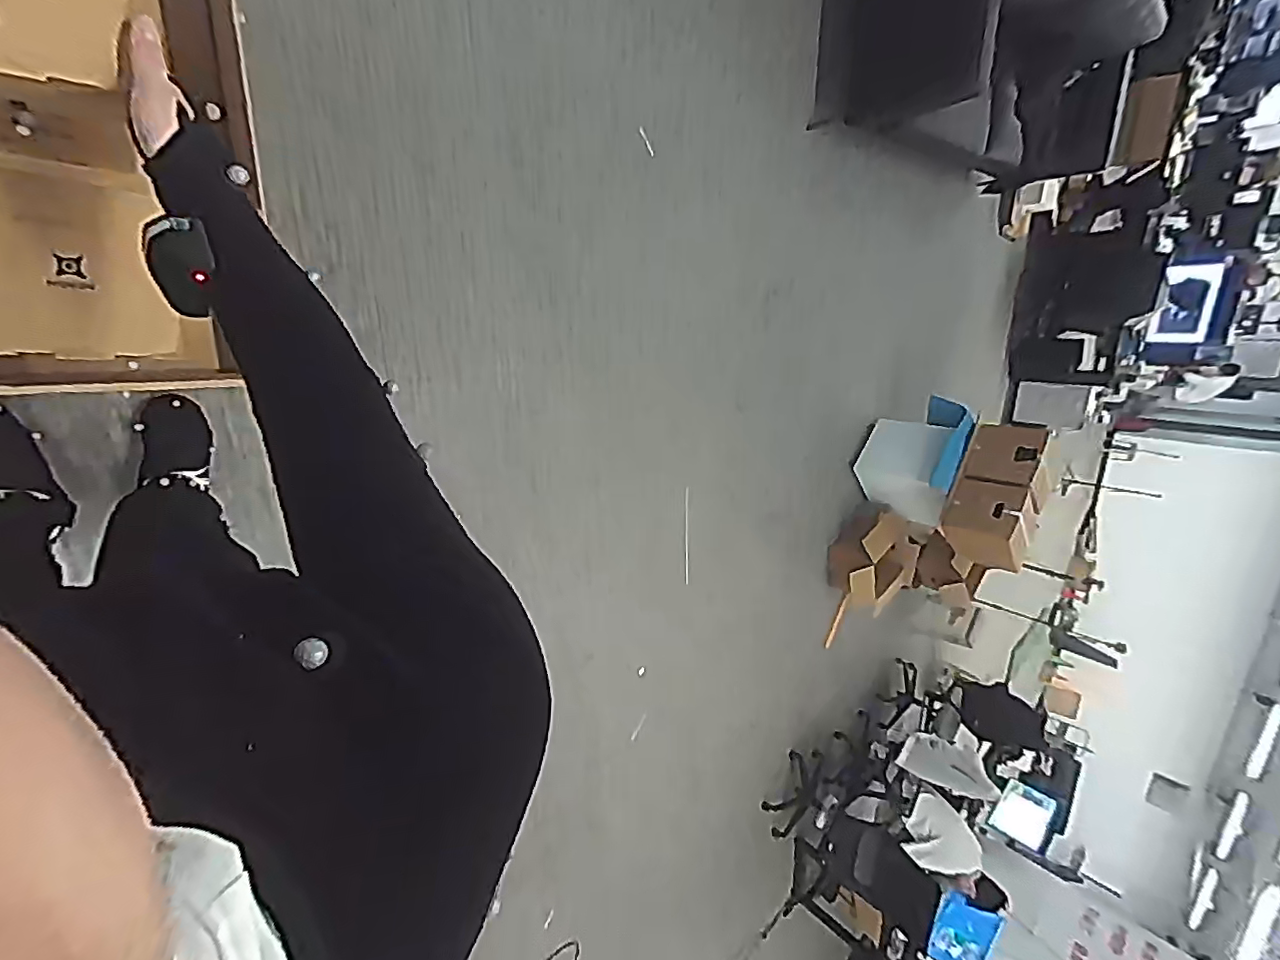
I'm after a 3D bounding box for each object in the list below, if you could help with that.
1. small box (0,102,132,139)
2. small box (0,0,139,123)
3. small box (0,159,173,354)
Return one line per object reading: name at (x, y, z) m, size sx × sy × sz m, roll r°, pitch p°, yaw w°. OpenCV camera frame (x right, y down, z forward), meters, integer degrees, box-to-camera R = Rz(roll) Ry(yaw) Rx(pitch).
small box at (-0.639, -0.472, 0.541) m, size 0.168 × 0.176 × 0.179 m, roll -12°, pitch 113°, yaw -41°
small box at (-0.529, -0.417, 0.429) m, size 0.168 × 0.176 × 0.179 m, roll -13°, pitch 114°, yaw -40°
small box at (-0.641, -0.239, 0.604) m, size 0.168 × 0.176 × 0.179 m, roll -8°, pitch 107°, yaw -43°
